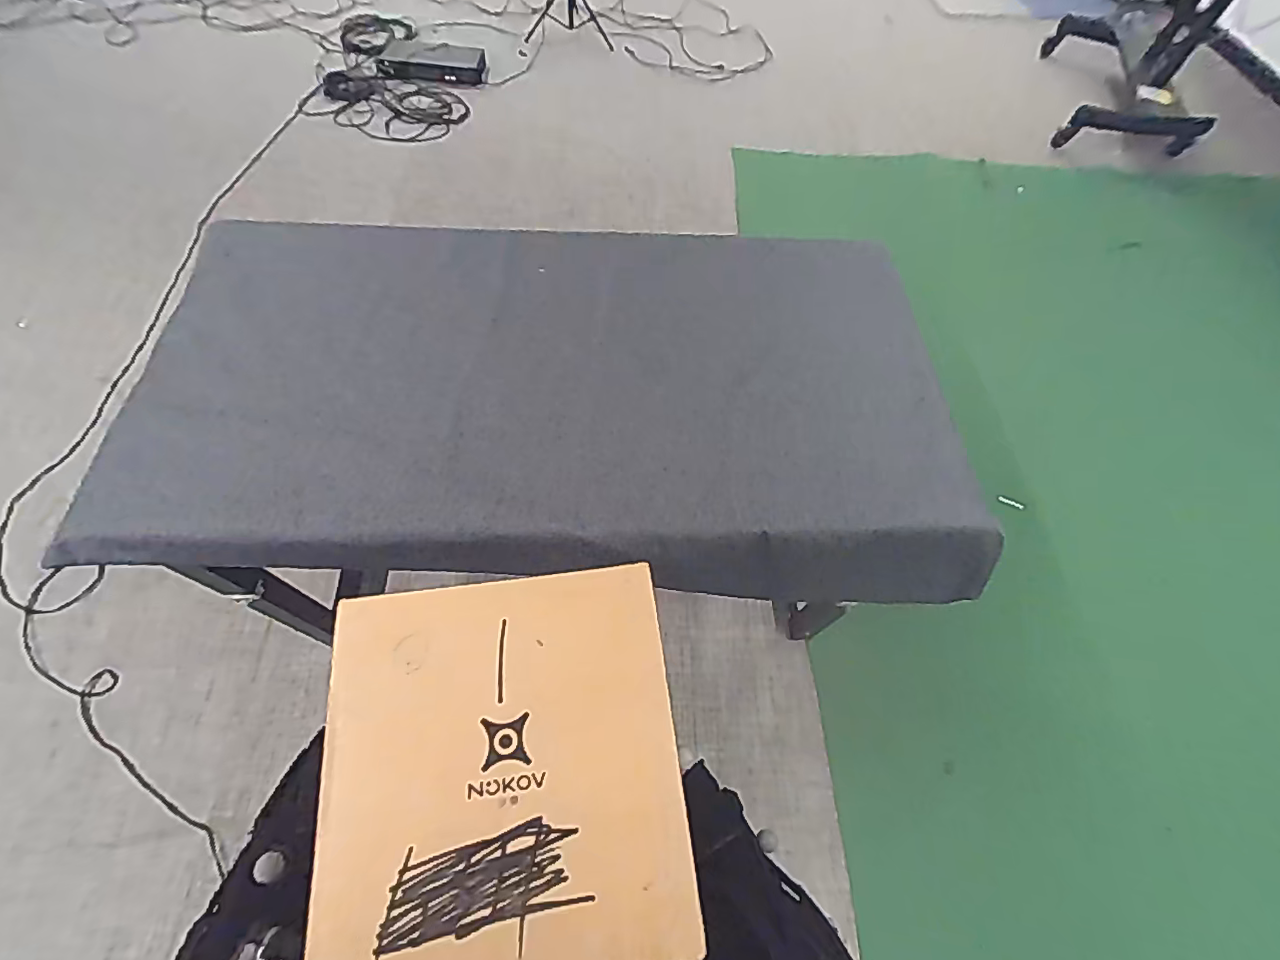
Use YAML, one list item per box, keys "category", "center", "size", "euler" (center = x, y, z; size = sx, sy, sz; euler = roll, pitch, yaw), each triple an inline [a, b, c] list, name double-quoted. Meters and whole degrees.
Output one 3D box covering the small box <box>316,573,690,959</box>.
- category: "small box"
  center: [-0.068, 0.169, 0.338]
  size: [0.168, 0.176, 0.179]
  euler: [-5, 66, -5]
